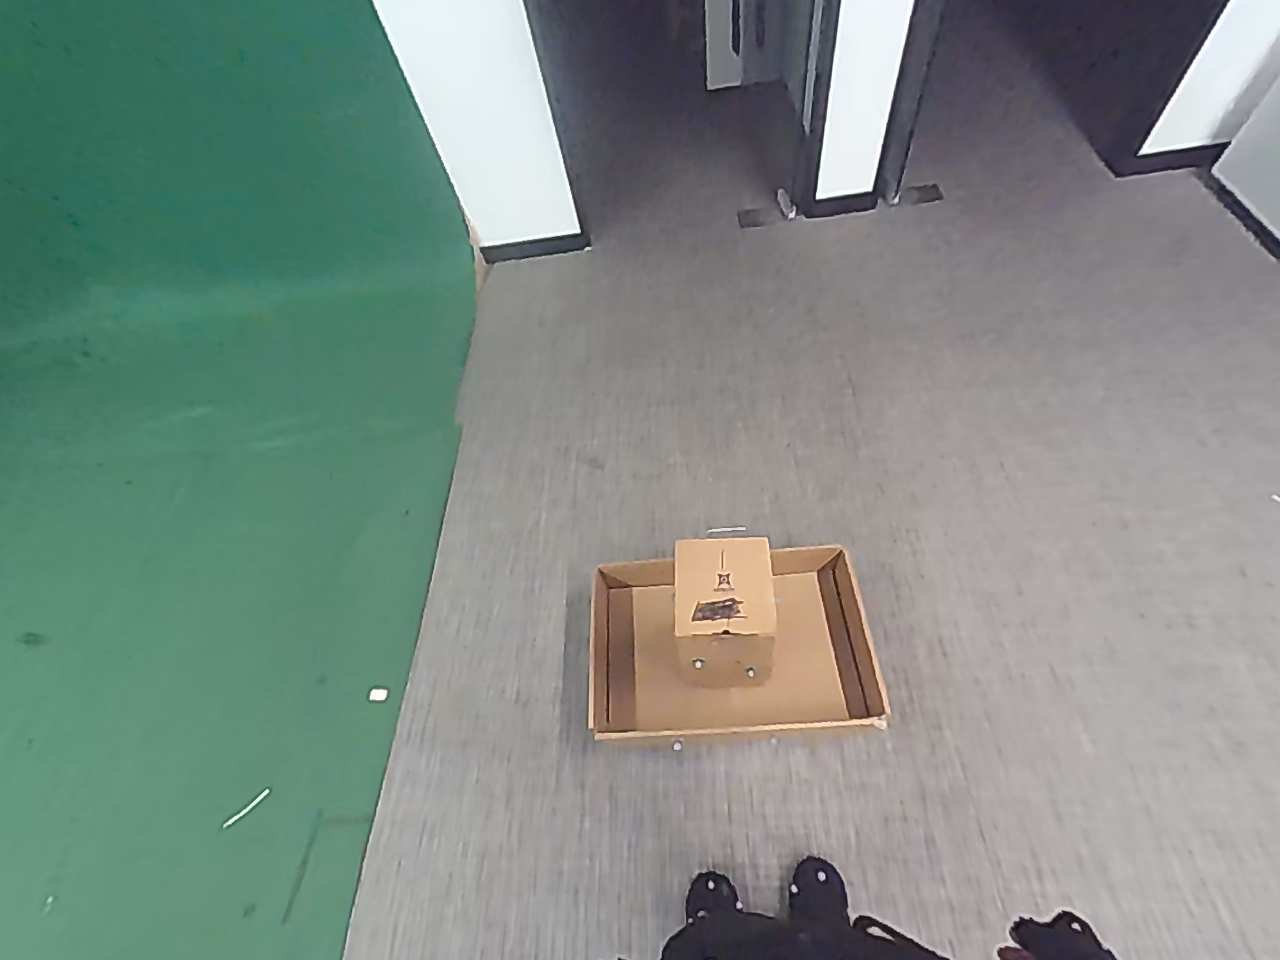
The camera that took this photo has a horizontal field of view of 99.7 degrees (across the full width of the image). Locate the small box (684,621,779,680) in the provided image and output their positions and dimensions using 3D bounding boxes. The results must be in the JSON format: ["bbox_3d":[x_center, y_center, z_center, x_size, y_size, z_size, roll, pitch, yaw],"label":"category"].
[{"bbox_3d":[0.175,0.302,1.102,0.179,0.176,0.168,-6,56,5],"label":"small box"}]

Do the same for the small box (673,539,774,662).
[{"bbox_3d":[0.150,0.223,0.979,0.168,0.176,0.179,-2,55,8],"label":"small box"}]

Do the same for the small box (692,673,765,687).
[{"bbox_3d":[0.198,0.377,1.267,0.179,0.176,0.168,-7,55,5],"label":"small box"}]
